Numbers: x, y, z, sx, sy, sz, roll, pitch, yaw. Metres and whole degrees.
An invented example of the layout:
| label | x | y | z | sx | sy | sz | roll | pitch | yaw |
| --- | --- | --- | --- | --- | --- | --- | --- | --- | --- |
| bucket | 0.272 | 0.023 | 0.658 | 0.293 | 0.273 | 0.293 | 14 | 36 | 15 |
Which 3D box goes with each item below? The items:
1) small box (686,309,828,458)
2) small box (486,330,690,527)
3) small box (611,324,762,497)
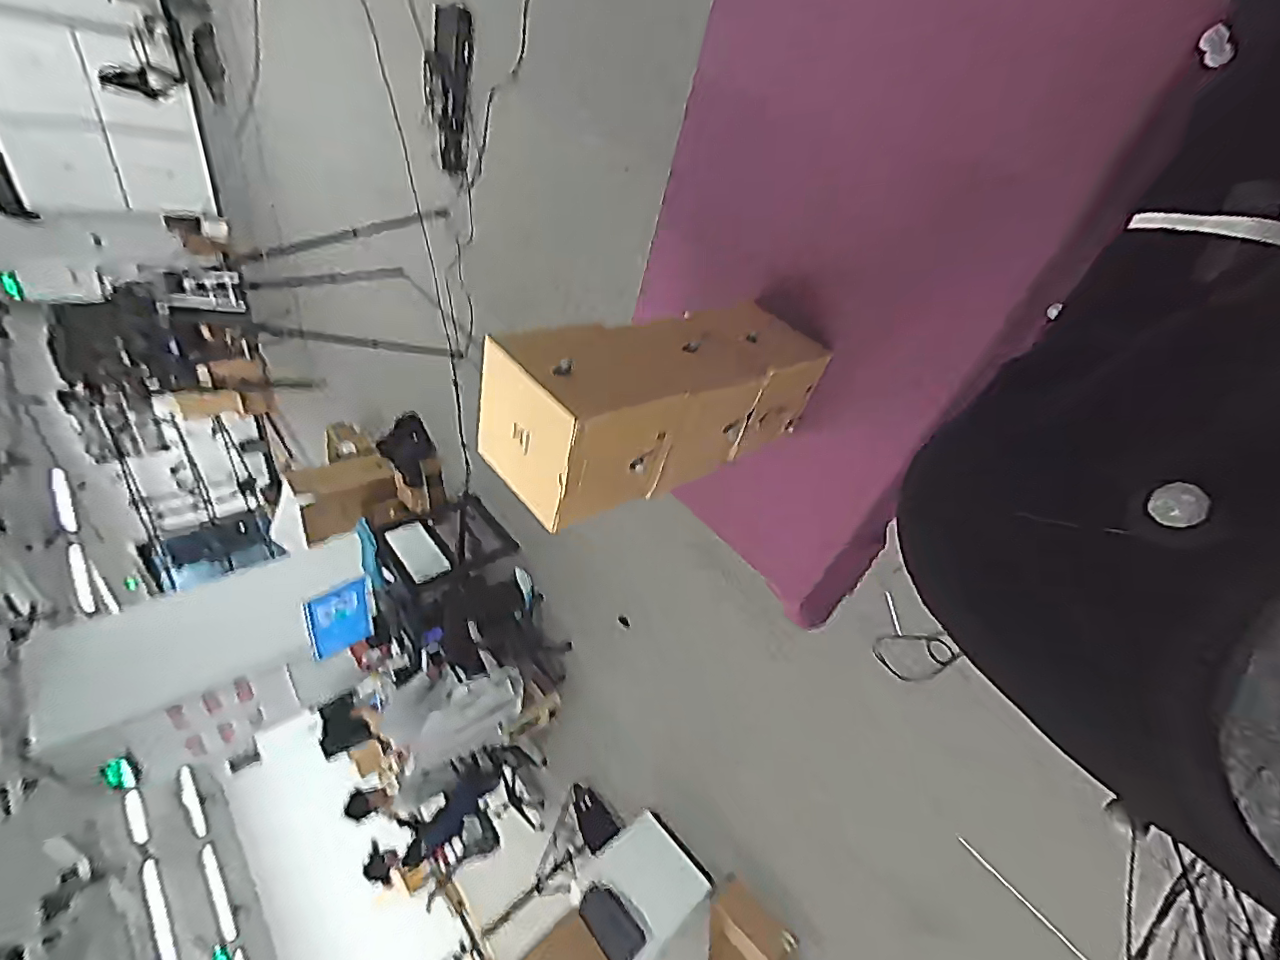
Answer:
| label | x | y | z | sx | sy | sz | roll | pitch | yaw |
| --- | --- | --- | --- | --- | --- | --- | --- | --- | --- |
| small box | 0.171 | -0.167 | 0.880 | 0.179 | 0.176 | 0.168 | 44 | 135 | 29 |
| small box | -0.070 | -0.075 | 0.678 | 0.179 | 0.176 | 0.168 | 42 | 135 | 28 |
| small box | 0.049 | -0.110 | 0.784 | 0.168 | 0.176 | 0.179 | 44 | 135 | 28 |
